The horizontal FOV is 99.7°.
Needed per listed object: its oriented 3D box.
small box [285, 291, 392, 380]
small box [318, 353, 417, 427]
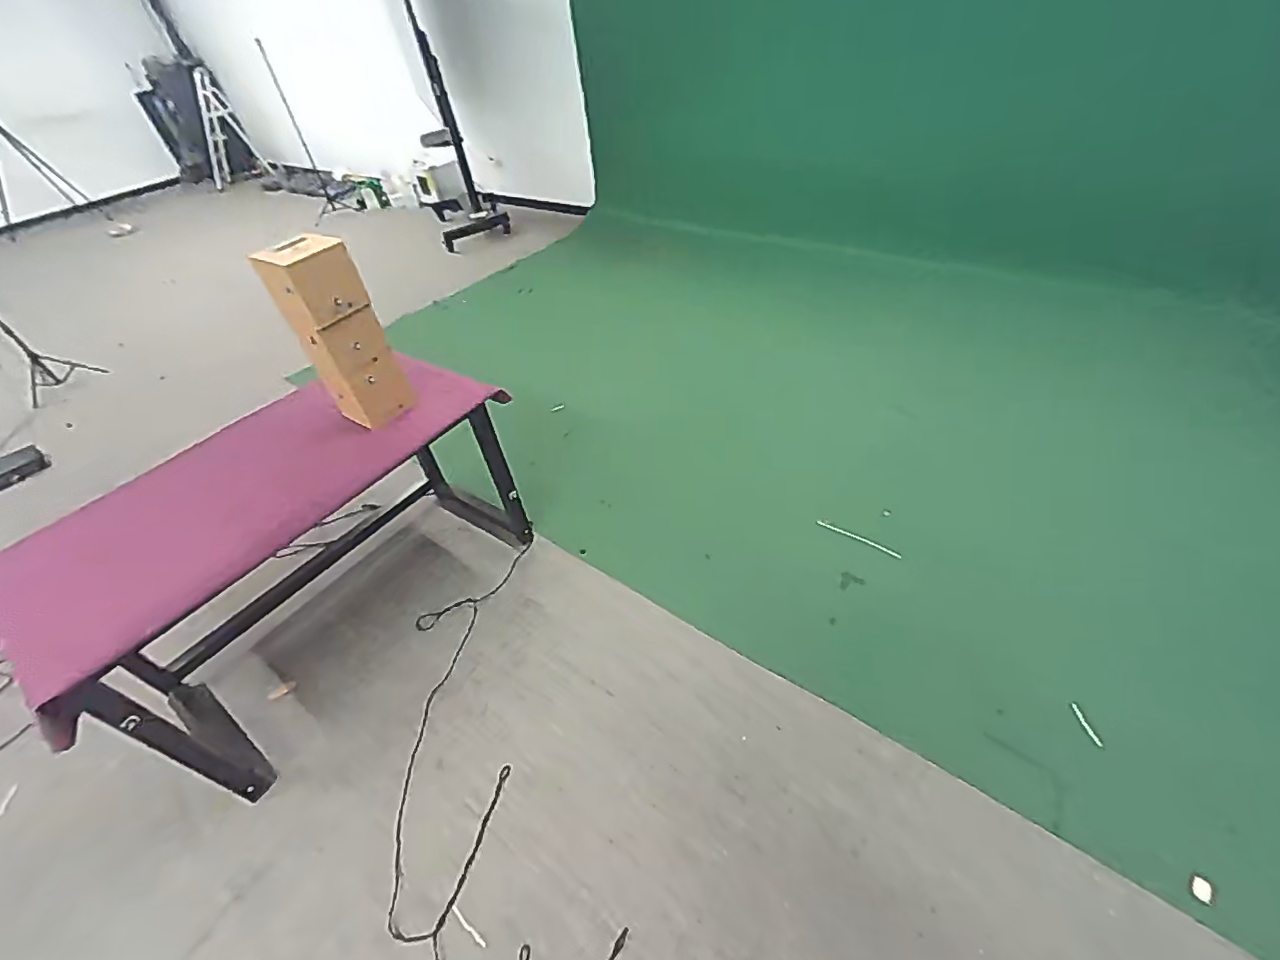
[{"bbox_3d":[-0.836,-0.402,1.516,0.179,0.176,0.168,24,52,30],"label":"small box"},{"bbox_3d":[-0.814,-0.283,1.628,0.179,0.176,0.168,21,53,30],"label":"small box"}]
